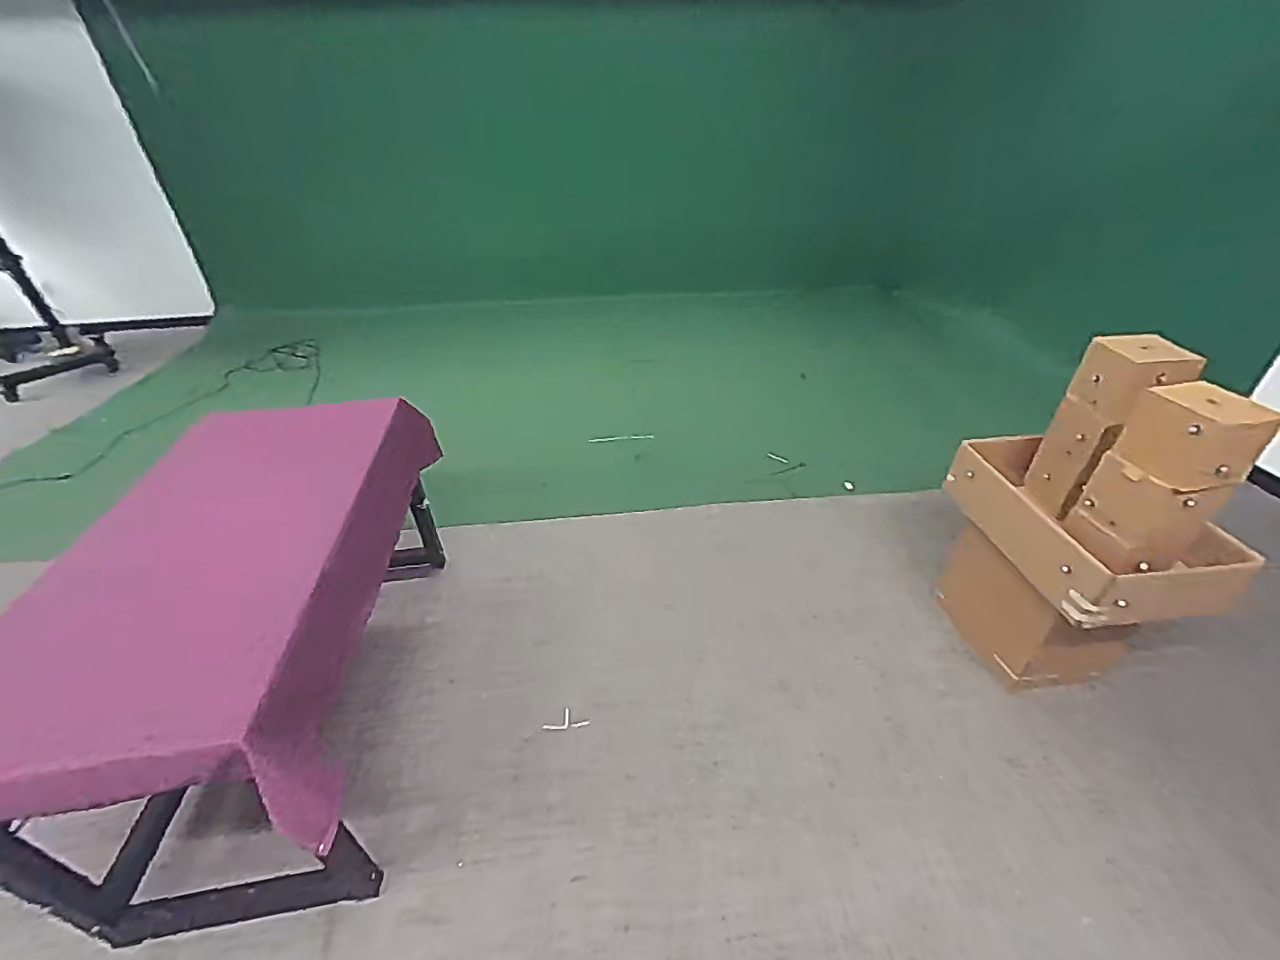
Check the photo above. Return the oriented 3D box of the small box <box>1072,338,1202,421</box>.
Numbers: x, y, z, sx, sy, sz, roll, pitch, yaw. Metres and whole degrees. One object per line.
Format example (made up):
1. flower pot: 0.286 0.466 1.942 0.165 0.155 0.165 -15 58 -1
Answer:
1. small box: 1.316 -0.268 1.454 0.179 0.176 0.168 -2 37 0

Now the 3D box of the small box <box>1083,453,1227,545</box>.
1. small box: 1.224 0.041 1.302 0.179 0.176 0.168 -6 35 -6

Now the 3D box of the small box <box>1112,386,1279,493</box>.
1. small box: 1.229 -0.092 1.210 0.168 0.176 0.179 -7 36 -9

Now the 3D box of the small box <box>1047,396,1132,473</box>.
1. small box: 1.315 -0.131 1.546 0.179 0.176 0.168 -2 37 -2
